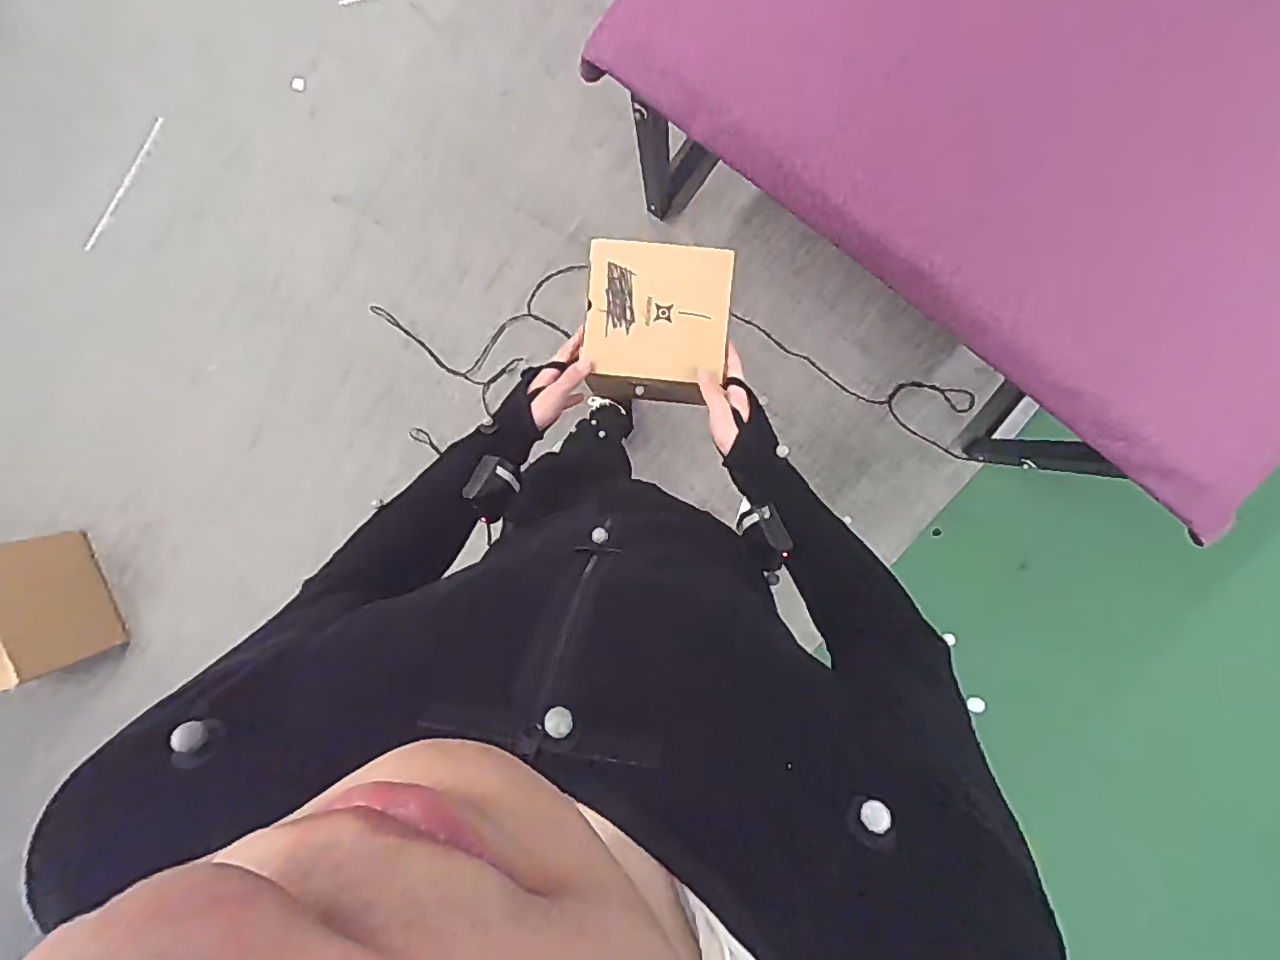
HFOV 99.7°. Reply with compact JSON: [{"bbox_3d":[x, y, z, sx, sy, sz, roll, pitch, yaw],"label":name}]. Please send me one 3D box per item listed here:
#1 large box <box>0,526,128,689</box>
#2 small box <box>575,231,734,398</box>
[{"bbox_3d":[-1.903,0.398,1.634,0.320,0.320,0.408,-20,96,7],"label":"large box"},{"bbox_3d":[0.019,-0.208,0.722,0.179,0.176,0.168,6,90,1],"label":"small box"}]
